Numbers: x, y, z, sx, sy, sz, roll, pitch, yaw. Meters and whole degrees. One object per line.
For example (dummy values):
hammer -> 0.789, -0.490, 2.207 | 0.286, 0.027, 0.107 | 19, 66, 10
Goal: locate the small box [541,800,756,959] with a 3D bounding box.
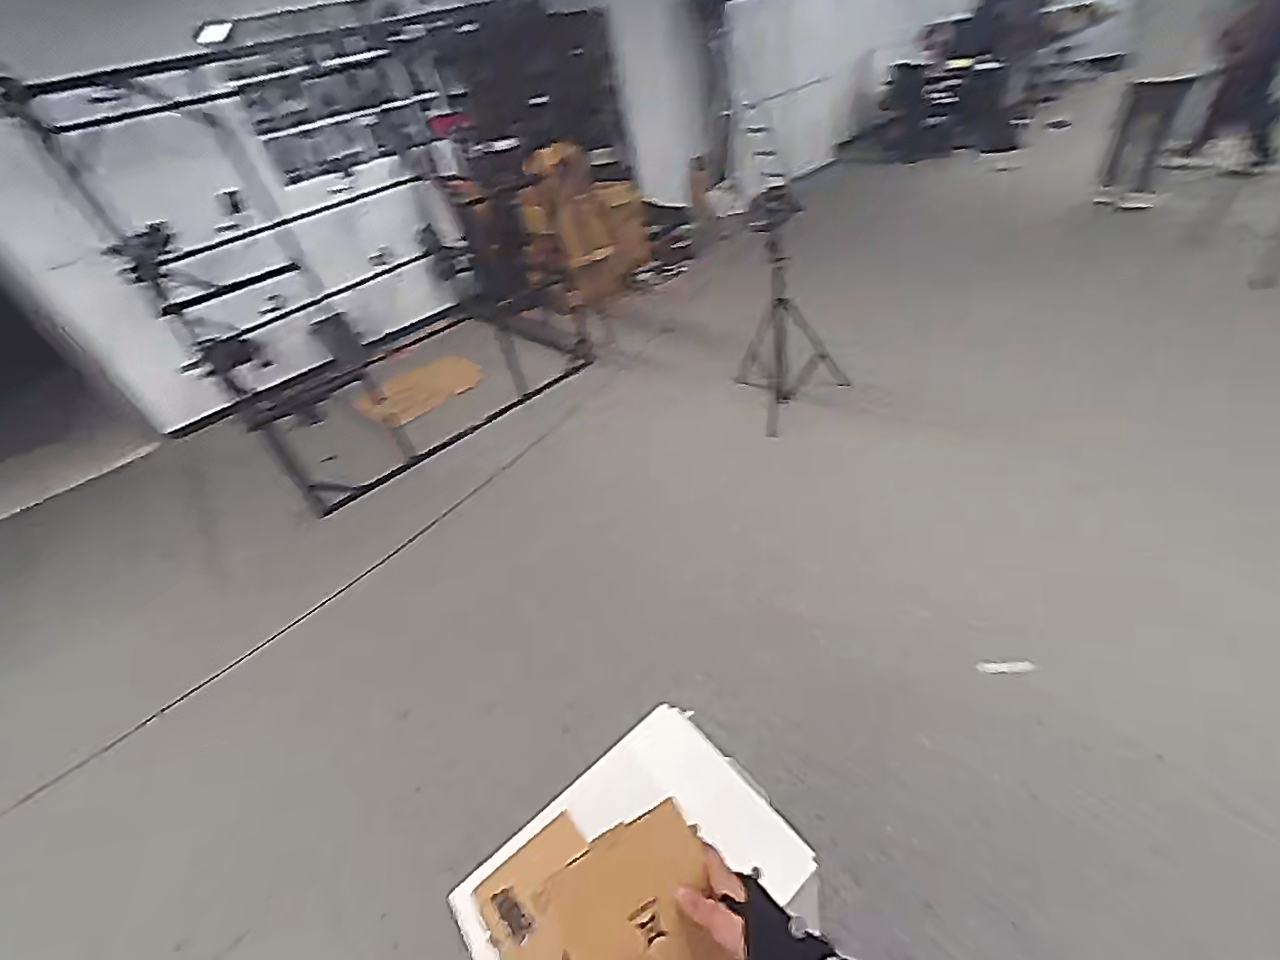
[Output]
small box -> 0.003, 0.503, 0.608 | 0.168, 0.176, 0.179 | -22, 54, -22

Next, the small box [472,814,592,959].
small box -> -0.123, 0.673, 0.831 | 0.179, 0.176, 0.168 | -33, 41, -23
